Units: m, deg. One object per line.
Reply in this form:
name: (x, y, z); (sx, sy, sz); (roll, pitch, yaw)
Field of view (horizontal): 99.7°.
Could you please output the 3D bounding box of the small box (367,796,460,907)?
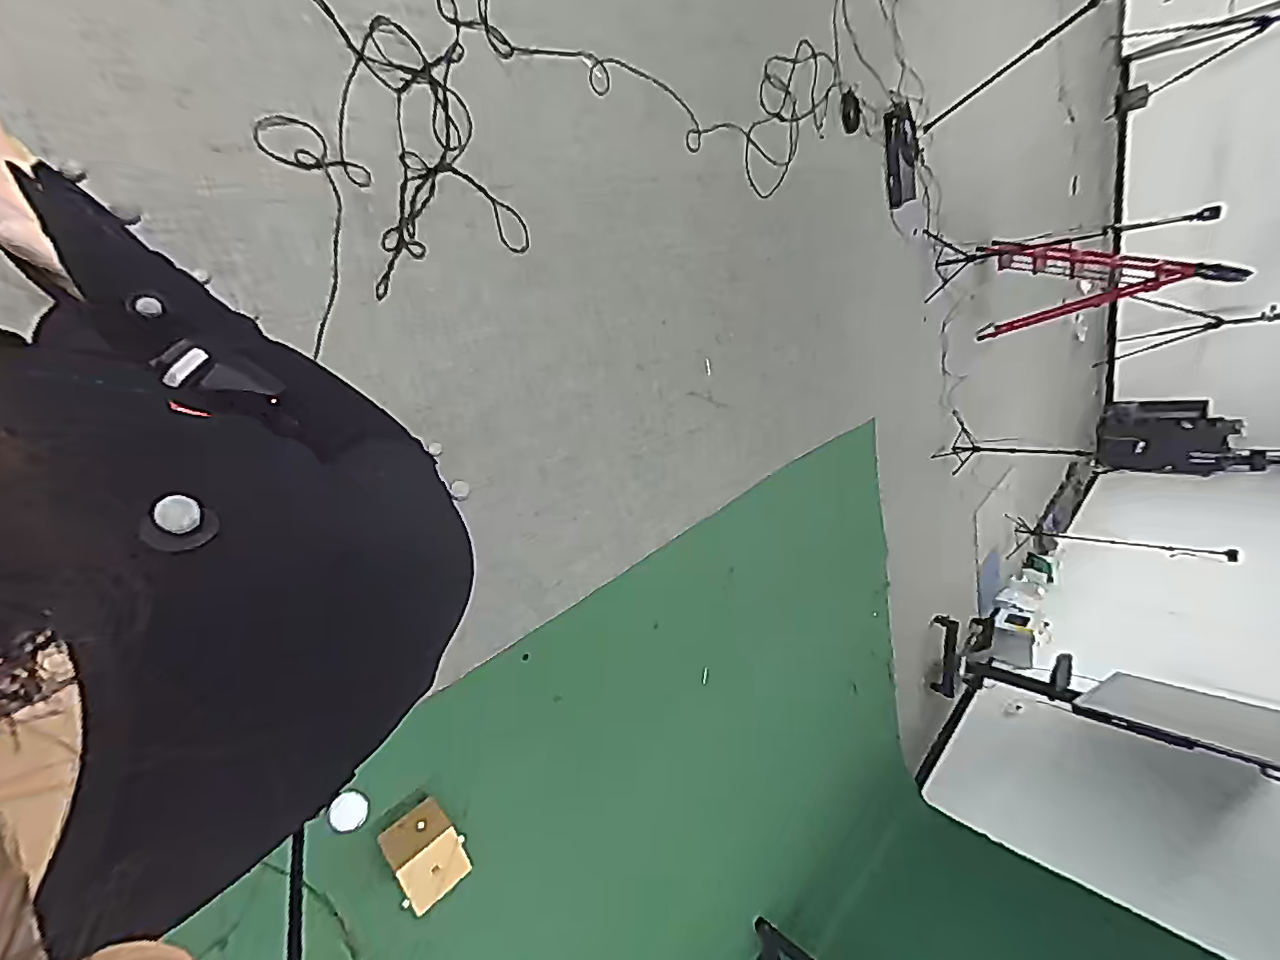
small box: (-0.648, 1.043, 1.541); (0.168, 0.176, 0.179); (-28, 115, -37)
